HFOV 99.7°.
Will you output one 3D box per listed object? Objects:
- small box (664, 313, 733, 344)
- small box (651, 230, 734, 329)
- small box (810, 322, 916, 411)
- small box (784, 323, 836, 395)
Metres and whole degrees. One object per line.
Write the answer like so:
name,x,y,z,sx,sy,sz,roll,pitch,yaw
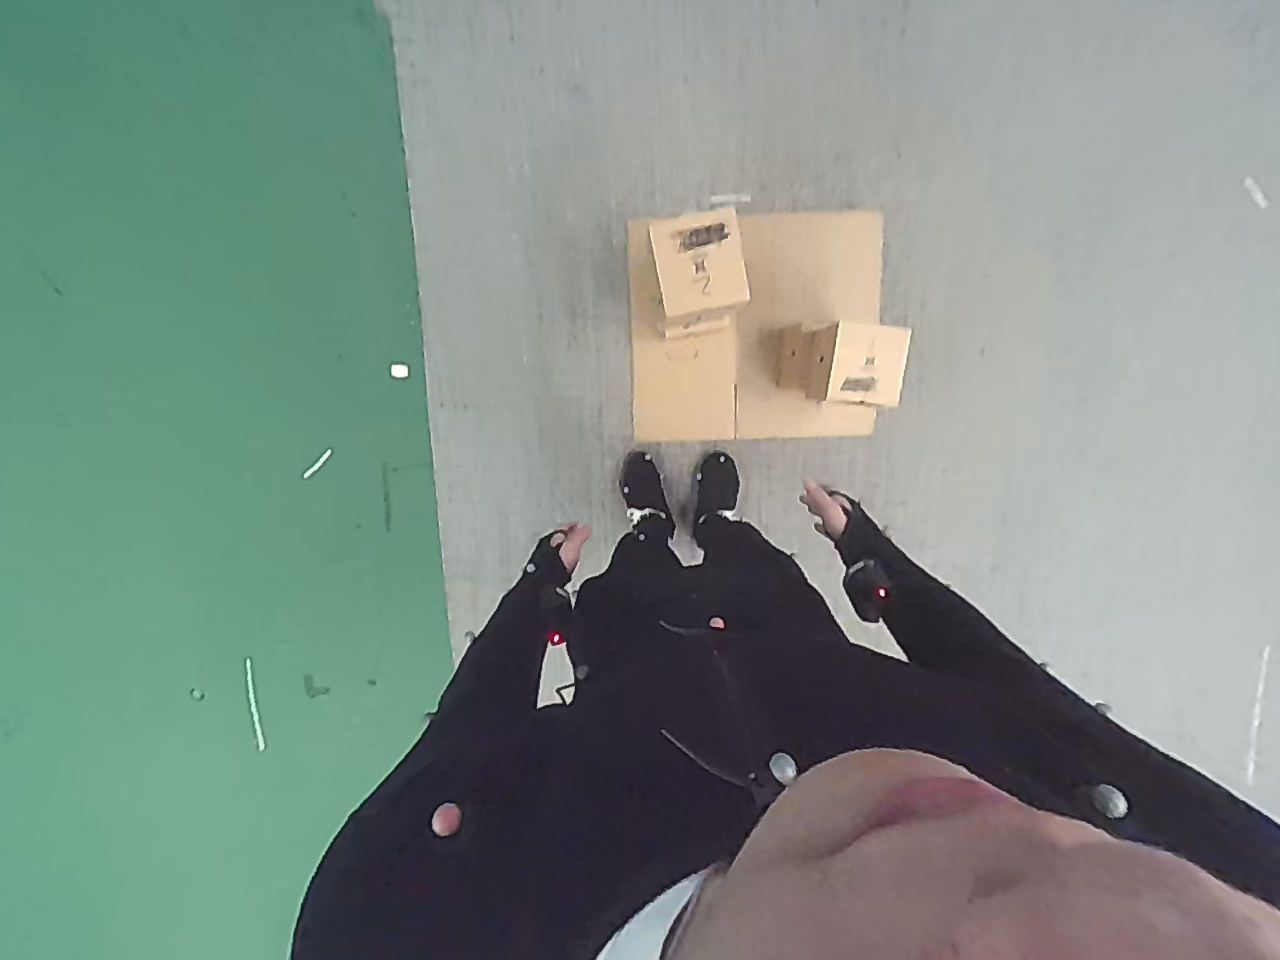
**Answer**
small box,0.139,-0.462,1.413,0.168,0.176,0.179,-9,98,2
small box,0.117,-0.452,1.248,0.168,0.176,0.179,-8,98,1
small box,0.513,-0.260,1.270,0.168,0.176,0.179,7,97,-1
small box,0.485,-0.311,1.430,0.168,0.176,0.179,3,98,1
